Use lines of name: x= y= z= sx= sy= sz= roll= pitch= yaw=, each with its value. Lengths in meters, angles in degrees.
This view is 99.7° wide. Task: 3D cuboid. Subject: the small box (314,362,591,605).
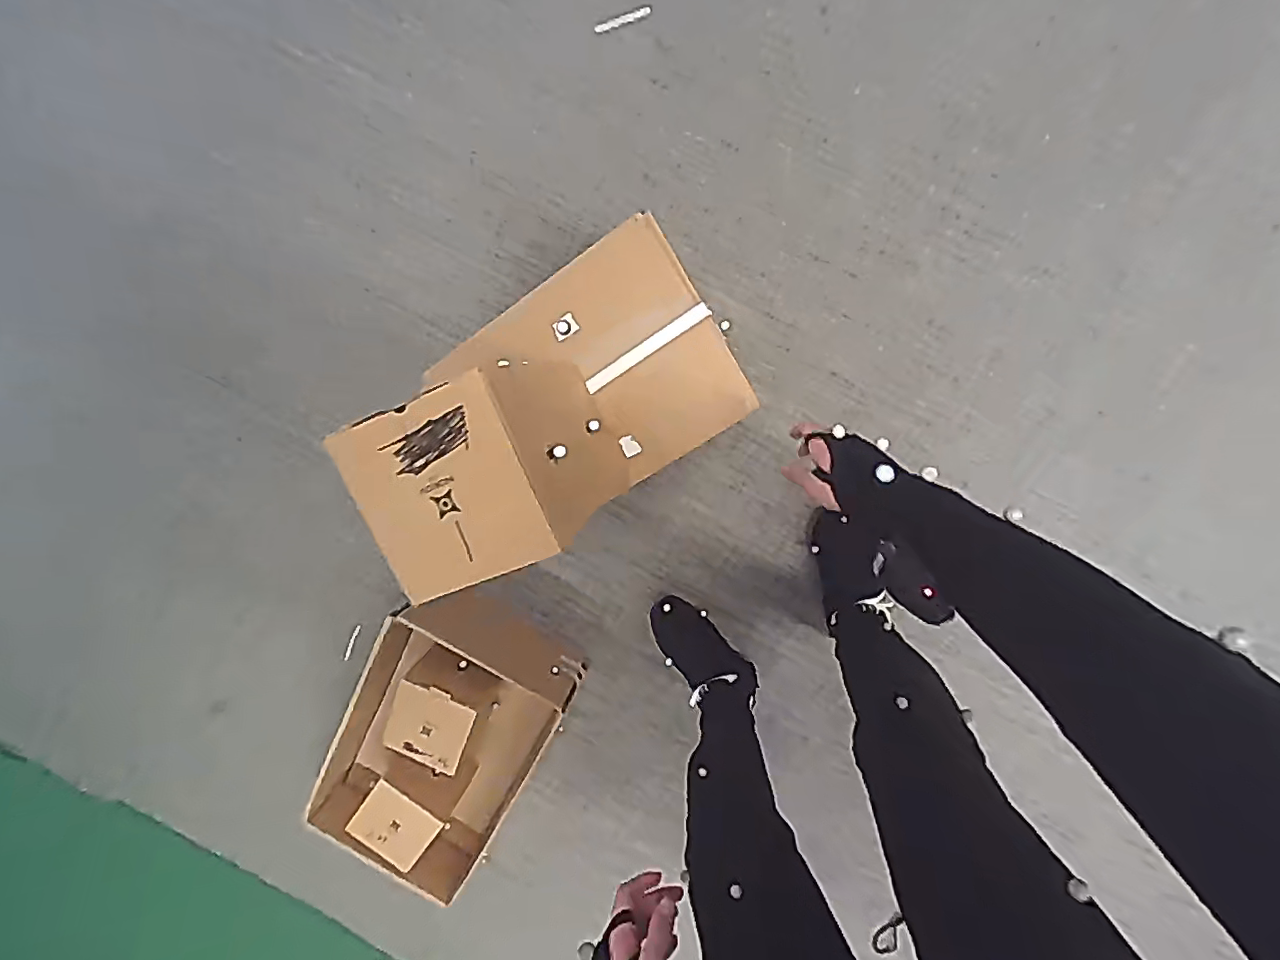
small box: x=-0.168 y=-0.008 z=0.544 sx=0.168 sy=0.176 sz=0.179 roll=-21 pitch=101 yaw=13

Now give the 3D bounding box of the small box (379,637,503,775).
small box: x=-0.407 y=0.463 z=1.135 sx=0.168 sy=0.176 sz=0.179 roll=24 pitch=106 yaw=2
